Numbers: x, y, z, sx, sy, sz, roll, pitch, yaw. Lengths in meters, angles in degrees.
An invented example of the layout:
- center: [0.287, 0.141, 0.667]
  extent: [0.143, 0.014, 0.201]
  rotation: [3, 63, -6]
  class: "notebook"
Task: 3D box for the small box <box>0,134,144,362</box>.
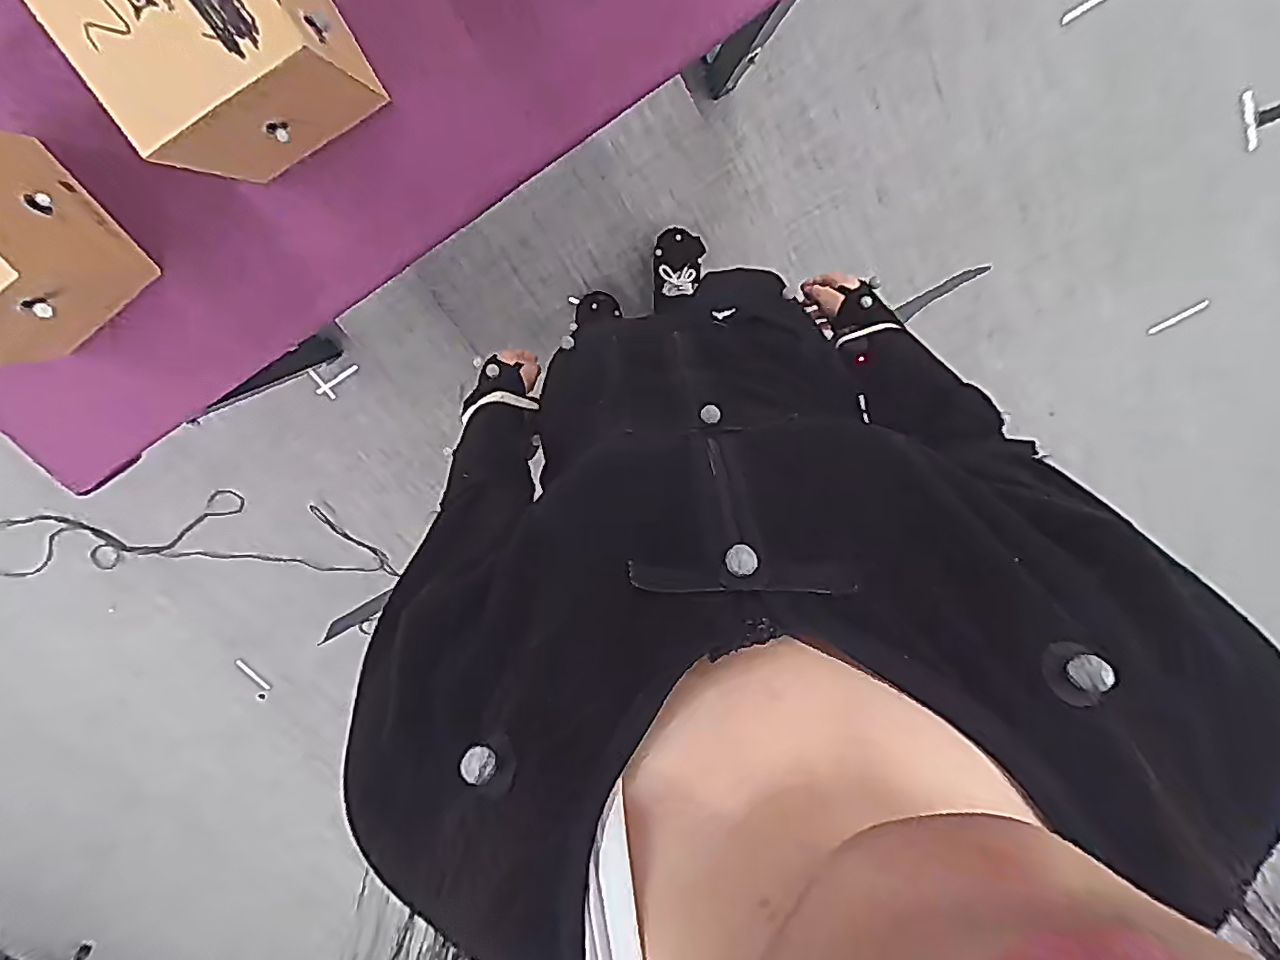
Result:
- center: [-0.671, -0.233, 0.545]
  extent: [0.179, 0.176, 0.168]
  rotation: [-32, 109, 11]
  class: "small box"
